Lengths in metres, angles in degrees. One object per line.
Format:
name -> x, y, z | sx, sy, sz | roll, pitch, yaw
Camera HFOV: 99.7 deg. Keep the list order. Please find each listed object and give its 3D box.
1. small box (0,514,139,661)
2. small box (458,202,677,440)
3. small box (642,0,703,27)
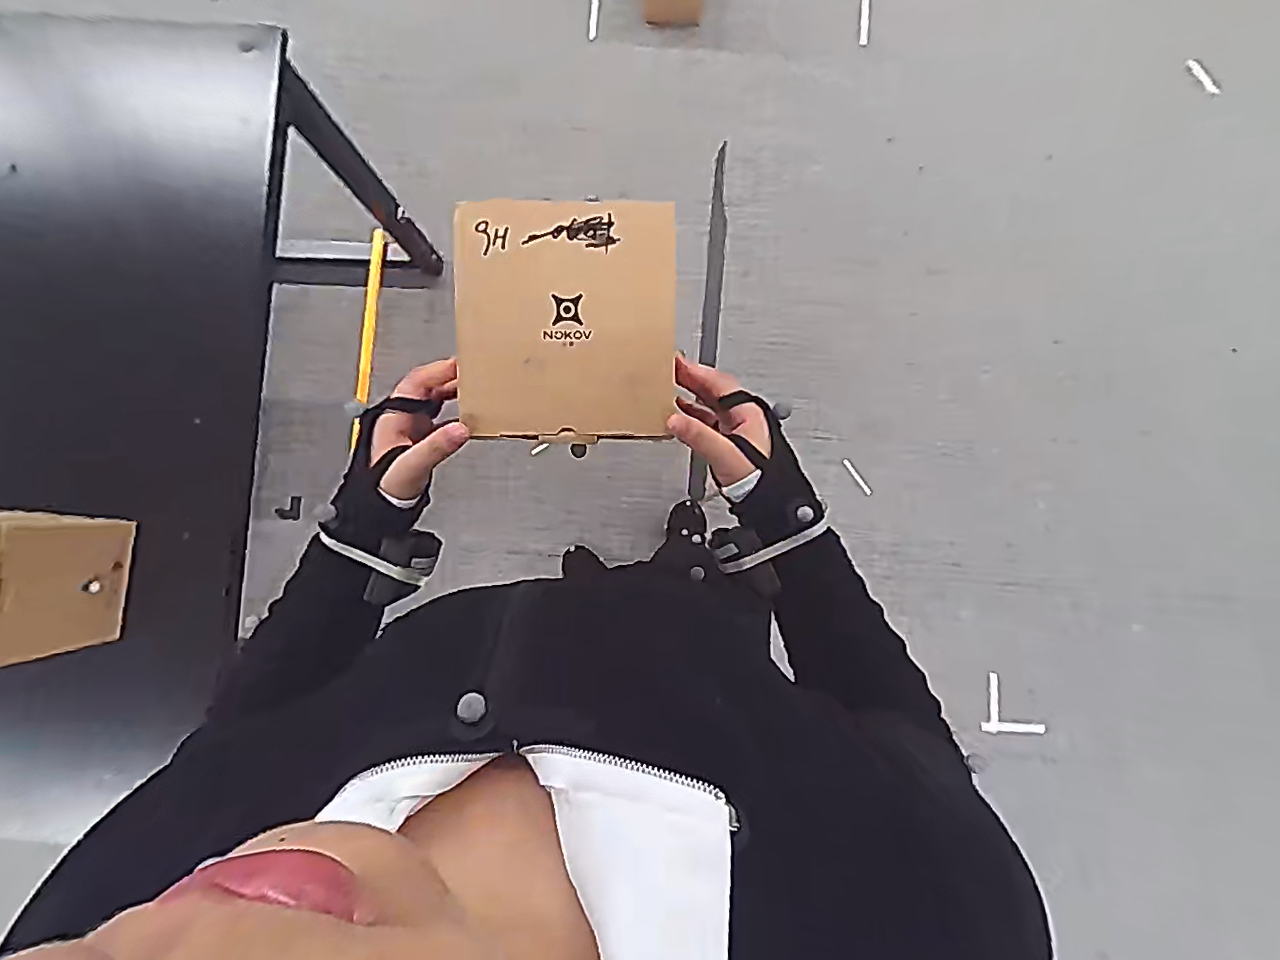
small box -> -0.813, 0.131, 0.692 | 0.179, 0.176, 0.168 | 5, 86, 1
small box -> -0.053, -0.126, 0.486 | 0.168, 0.176, 0.179 | 0, 95, 1
small box -> 0.096, -1.428, 1.525 | 0.179, 0.176, 0.168 | 2, 87, -1
